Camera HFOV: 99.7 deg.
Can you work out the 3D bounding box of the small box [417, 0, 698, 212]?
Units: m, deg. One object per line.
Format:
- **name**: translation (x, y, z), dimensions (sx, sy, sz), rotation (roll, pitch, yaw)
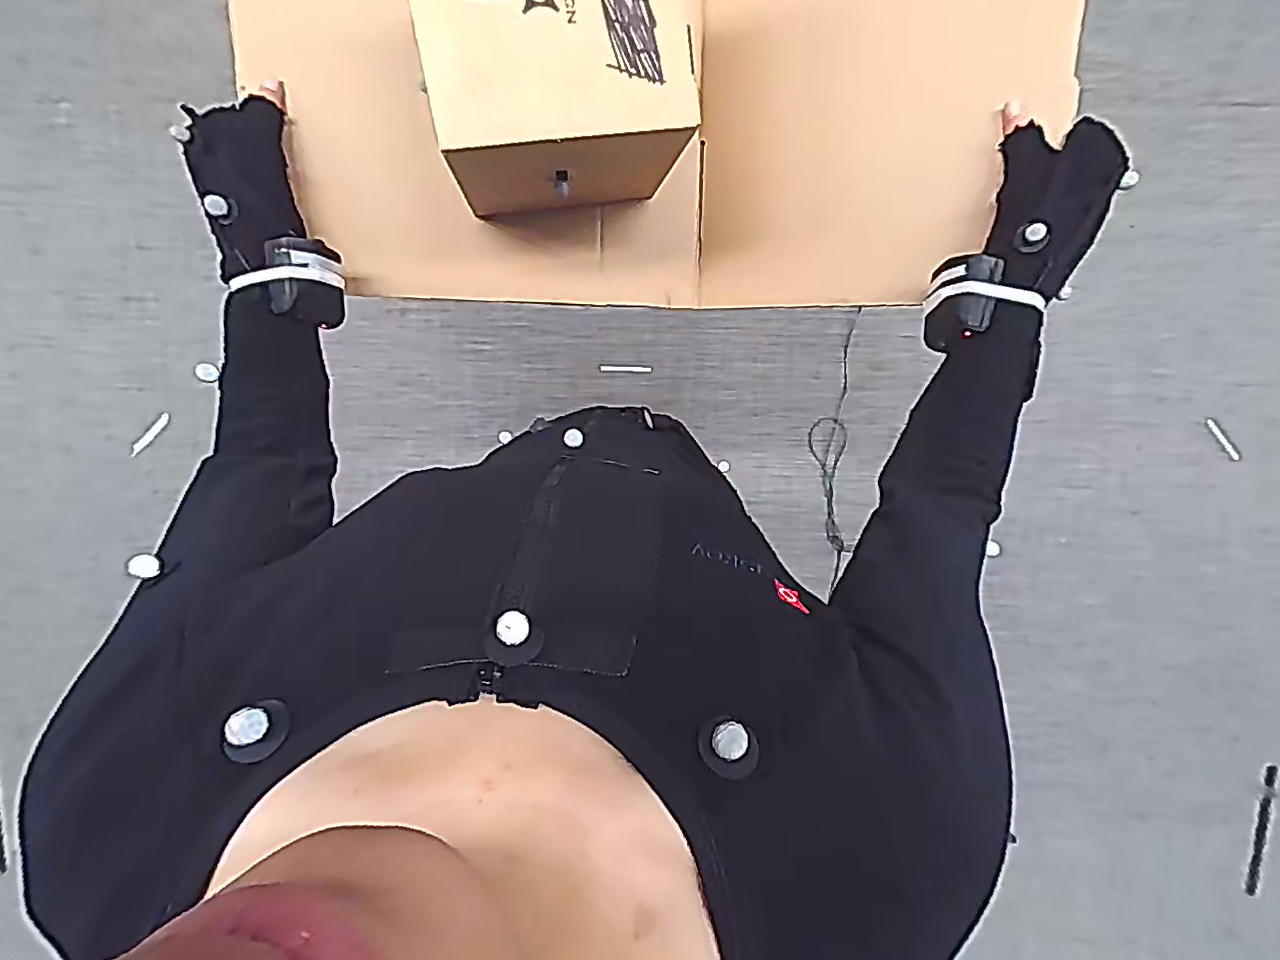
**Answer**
- **small box**: translation (-0.067, -0.324, 0.424), dimensions (0.179, 0.176, 0.168), rotation (-10, 104, -7)
